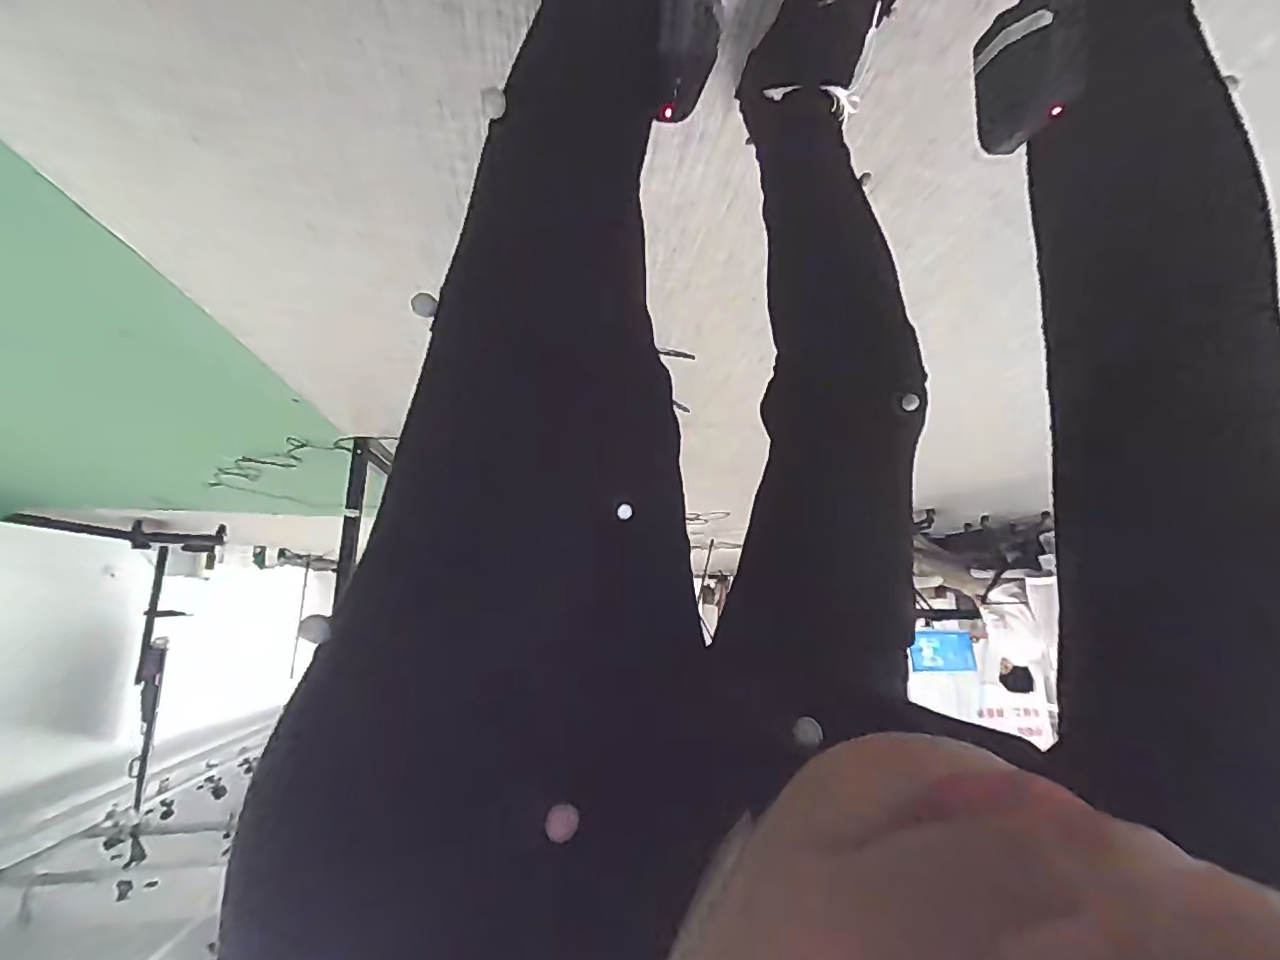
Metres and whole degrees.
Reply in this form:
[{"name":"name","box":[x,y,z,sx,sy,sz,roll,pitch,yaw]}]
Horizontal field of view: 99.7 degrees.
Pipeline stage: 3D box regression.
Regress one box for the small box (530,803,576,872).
[{"name":"small box","box":[-0.336,1.377,2.092,0.168,0.176,0.179,2,168,-8]}]
